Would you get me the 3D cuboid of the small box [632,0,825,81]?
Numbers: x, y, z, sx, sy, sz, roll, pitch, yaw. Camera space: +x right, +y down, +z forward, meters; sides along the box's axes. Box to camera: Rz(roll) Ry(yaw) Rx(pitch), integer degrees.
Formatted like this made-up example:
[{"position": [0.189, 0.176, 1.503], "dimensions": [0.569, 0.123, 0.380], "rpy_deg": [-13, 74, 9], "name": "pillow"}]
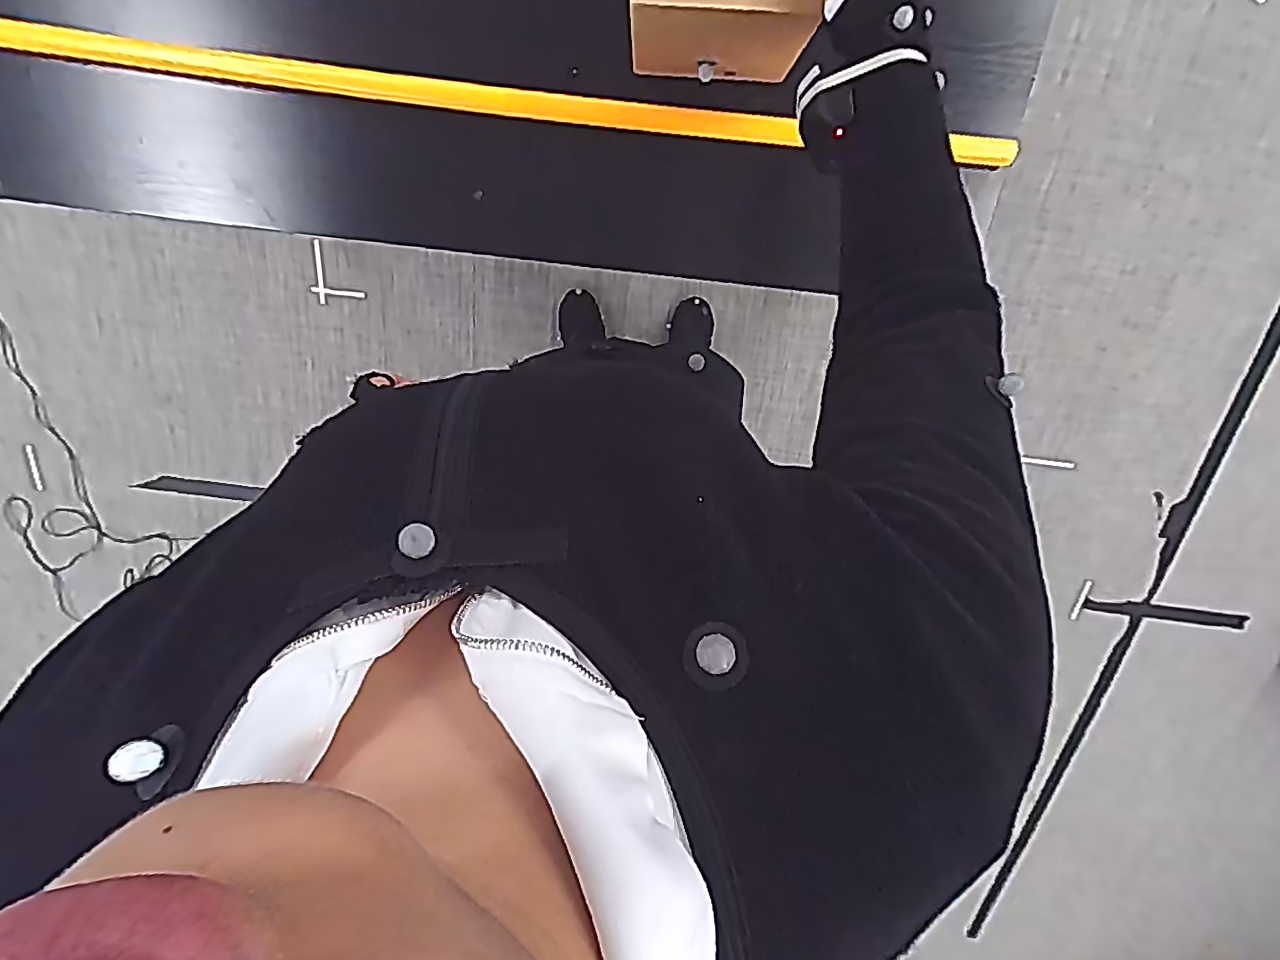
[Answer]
[{"position": [0.079, -0.504, 0.495], "dimensions": [0.168, 0.176, 0.179], "rpy_deg": [4, 111, 0], "name": "small box"}]
